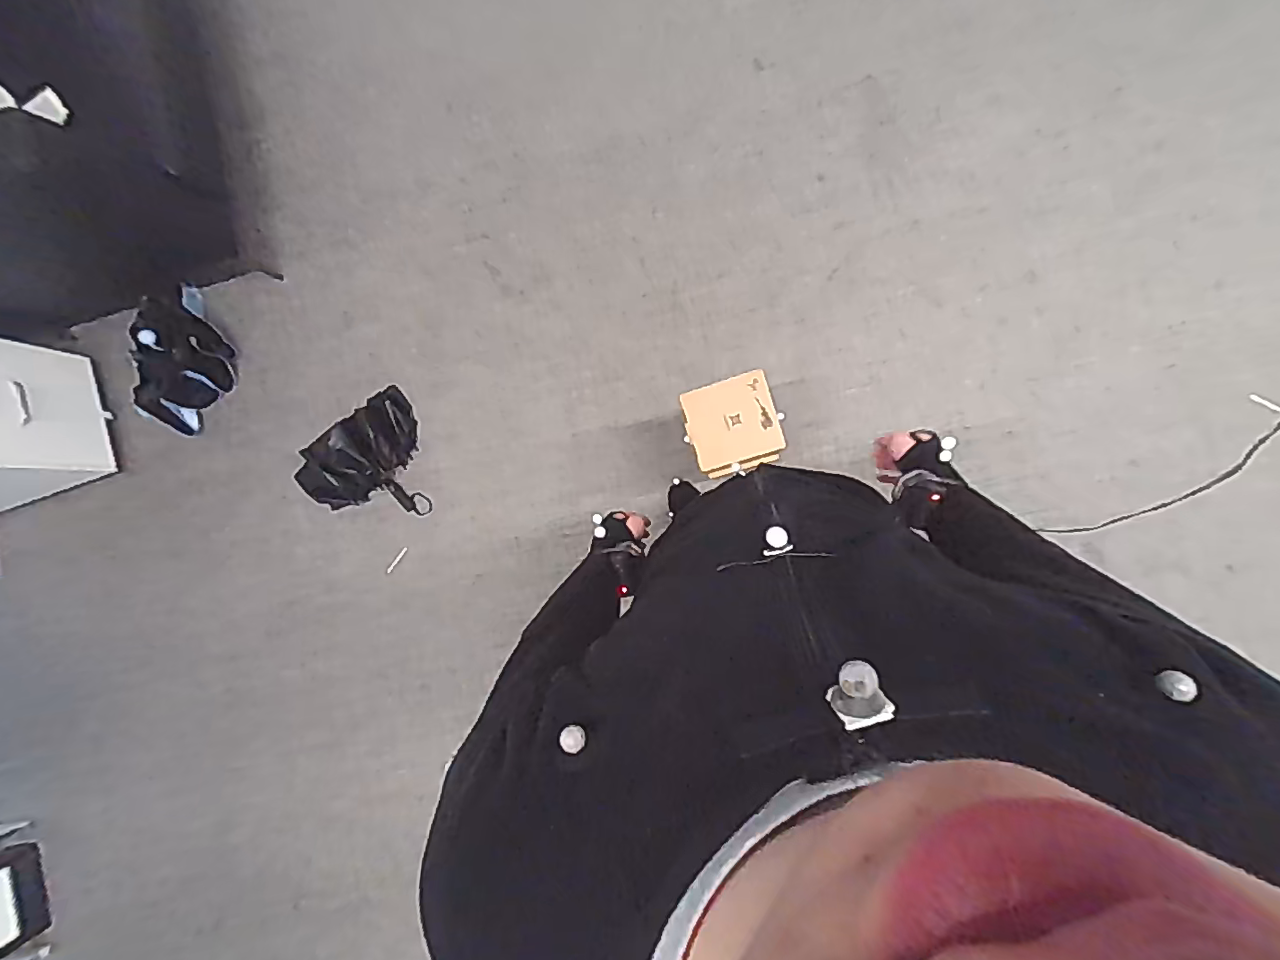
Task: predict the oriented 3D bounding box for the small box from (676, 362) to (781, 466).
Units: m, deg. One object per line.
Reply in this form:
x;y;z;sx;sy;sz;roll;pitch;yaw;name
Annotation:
0.190;-0.131;1.153;0.179;0.176;0.168;-16;86;10;small box

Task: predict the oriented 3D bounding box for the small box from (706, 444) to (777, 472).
0.222;-0.123;1.313;0.168;0.176;0.179;-16;87;9;small box
